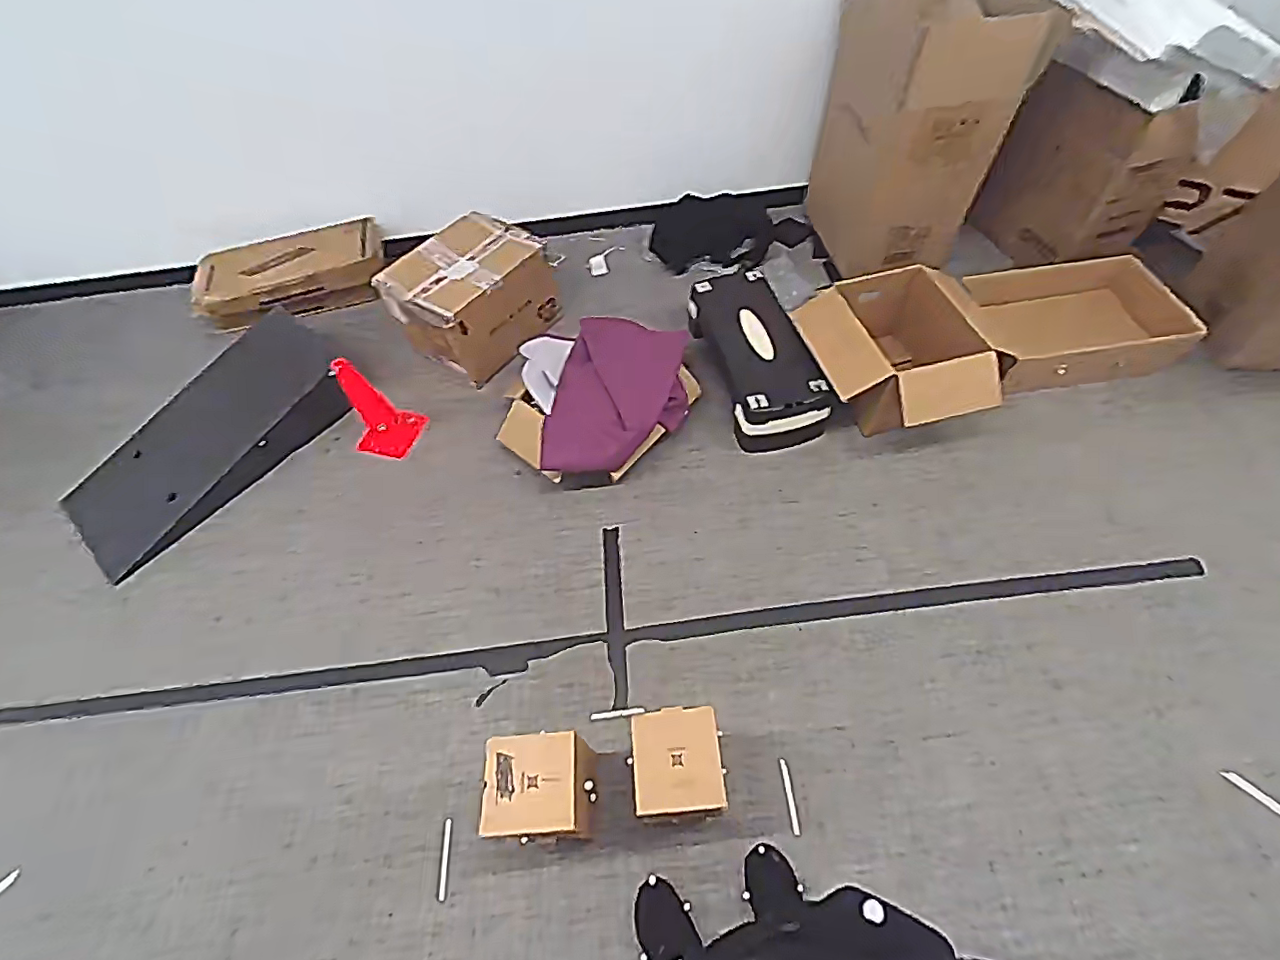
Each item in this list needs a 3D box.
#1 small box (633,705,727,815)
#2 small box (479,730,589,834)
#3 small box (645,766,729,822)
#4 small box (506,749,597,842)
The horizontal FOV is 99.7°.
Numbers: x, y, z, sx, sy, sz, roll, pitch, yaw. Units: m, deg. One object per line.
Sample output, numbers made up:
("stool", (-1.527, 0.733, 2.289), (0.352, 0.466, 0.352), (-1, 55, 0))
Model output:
("small box", (0.076, 0.563, 1.080), (0.168, 0.176, 0.179), (-6, 59, 2))
("small box", (-0.202, 0.603, 1.075), (0.179, 0.176, 0.168), (-5, 57, 1))
("small box", (0.094, 0.659, 1.211), (0.179, 0.176, 0.168), (-8, 57, 0))
("small box", (-0.190, 0.699, 1.210), (0.168, 0.176, 0.179), (-5, 58, 3))
